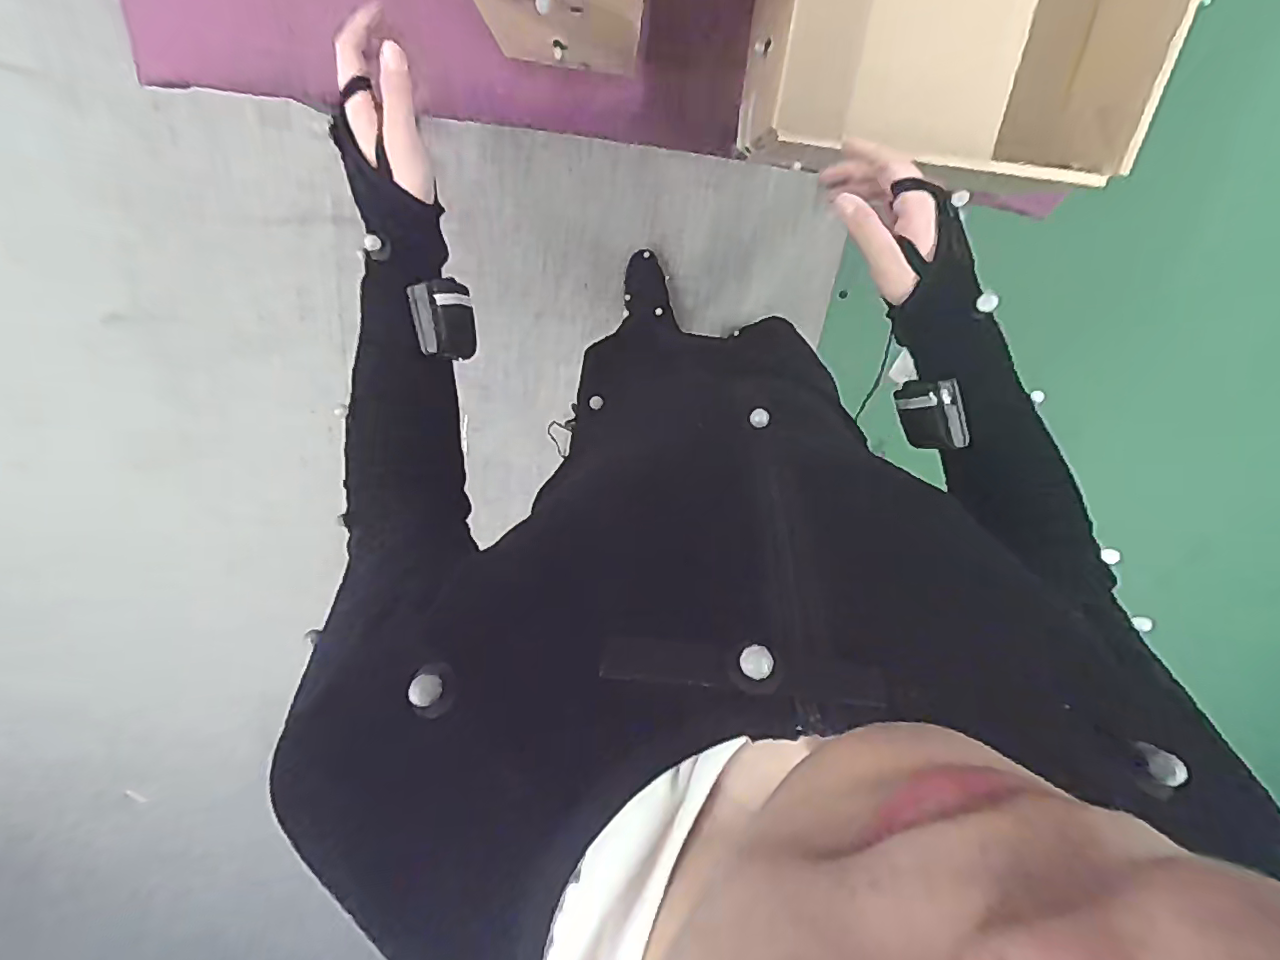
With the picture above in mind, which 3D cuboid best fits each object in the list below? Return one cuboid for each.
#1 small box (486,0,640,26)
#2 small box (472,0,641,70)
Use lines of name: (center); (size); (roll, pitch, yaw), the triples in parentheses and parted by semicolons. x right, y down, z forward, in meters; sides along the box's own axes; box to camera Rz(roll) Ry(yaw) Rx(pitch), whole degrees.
small box: (-0.069, -0.507, 0.424); (0.168, 0.176, 0.179); (6, 113, -4)
small box: (-0.076, -0.571, 0.575); (0.168, 0.176, 0.179); (6, 112, -6)
